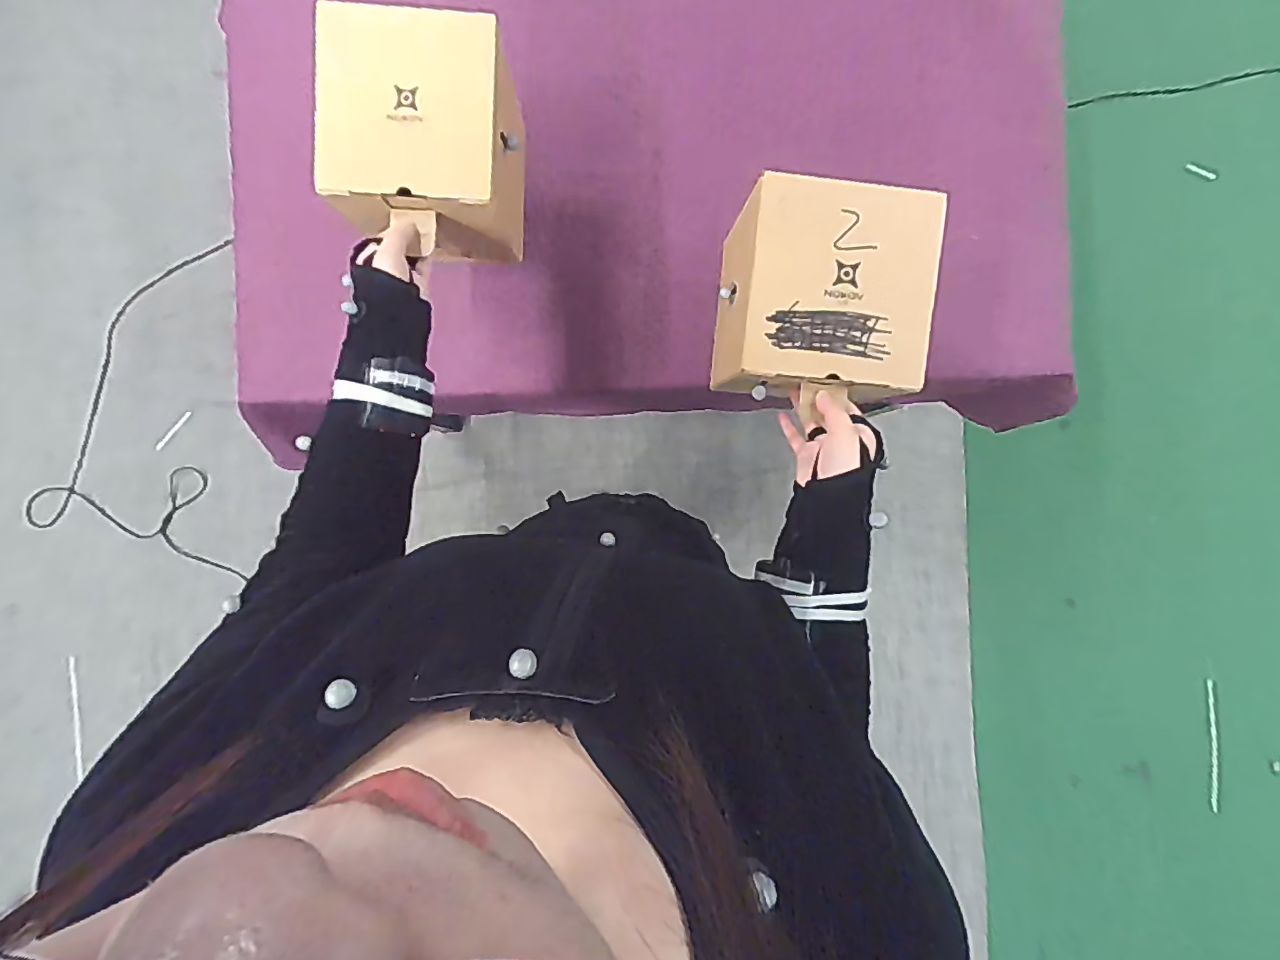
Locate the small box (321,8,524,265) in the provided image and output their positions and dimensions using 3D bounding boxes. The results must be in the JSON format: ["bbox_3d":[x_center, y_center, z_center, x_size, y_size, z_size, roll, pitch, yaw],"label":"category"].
[{"bbox_3d":[-0.225,-0.360,0.599,0.168,0.176,0.179,2,94,-3],"label":"small box"}]
